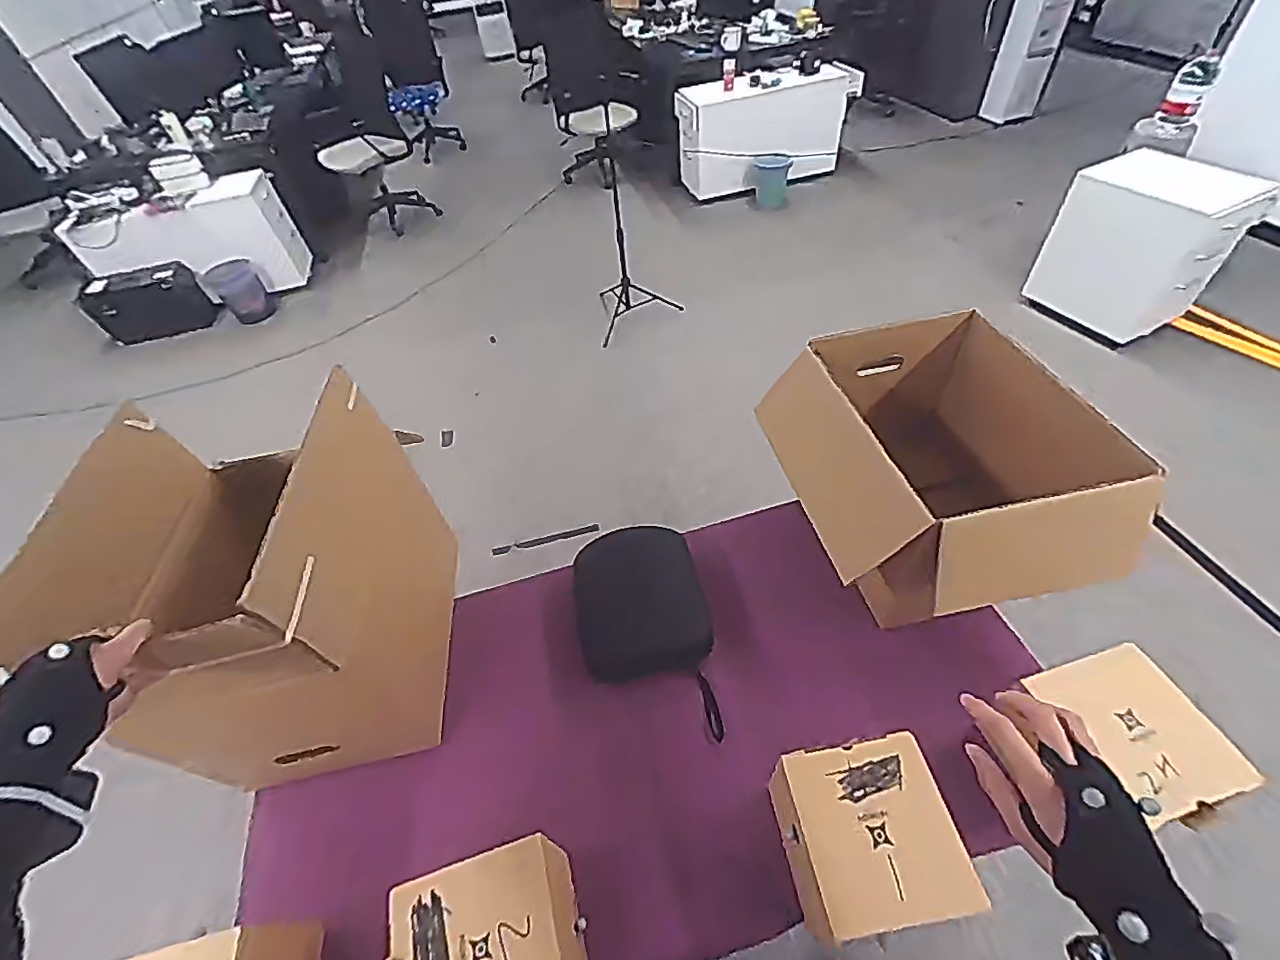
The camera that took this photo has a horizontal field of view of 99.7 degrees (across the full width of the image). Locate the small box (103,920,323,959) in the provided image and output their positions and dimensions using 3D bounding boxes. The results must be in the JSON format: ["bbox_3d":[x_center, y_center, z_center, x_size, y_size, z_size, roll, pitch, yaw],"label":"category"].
[{"bbox_3d":[-0.492,0.618,0.597,0.179,0.176,0.168,-13,49,-5],"label":"small box"}]

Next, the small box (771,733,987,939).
[{"bbox_3d":[0.267,0.435,0.659,0.168,0.176,0.179,-10,50,-1],"label":"small box"}]

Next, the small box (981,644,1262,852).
[{"bbox_3d":[0.587,0.344,0.695,0.168,0.176,0.179,-16,49,-5],"label":"small box"}]
